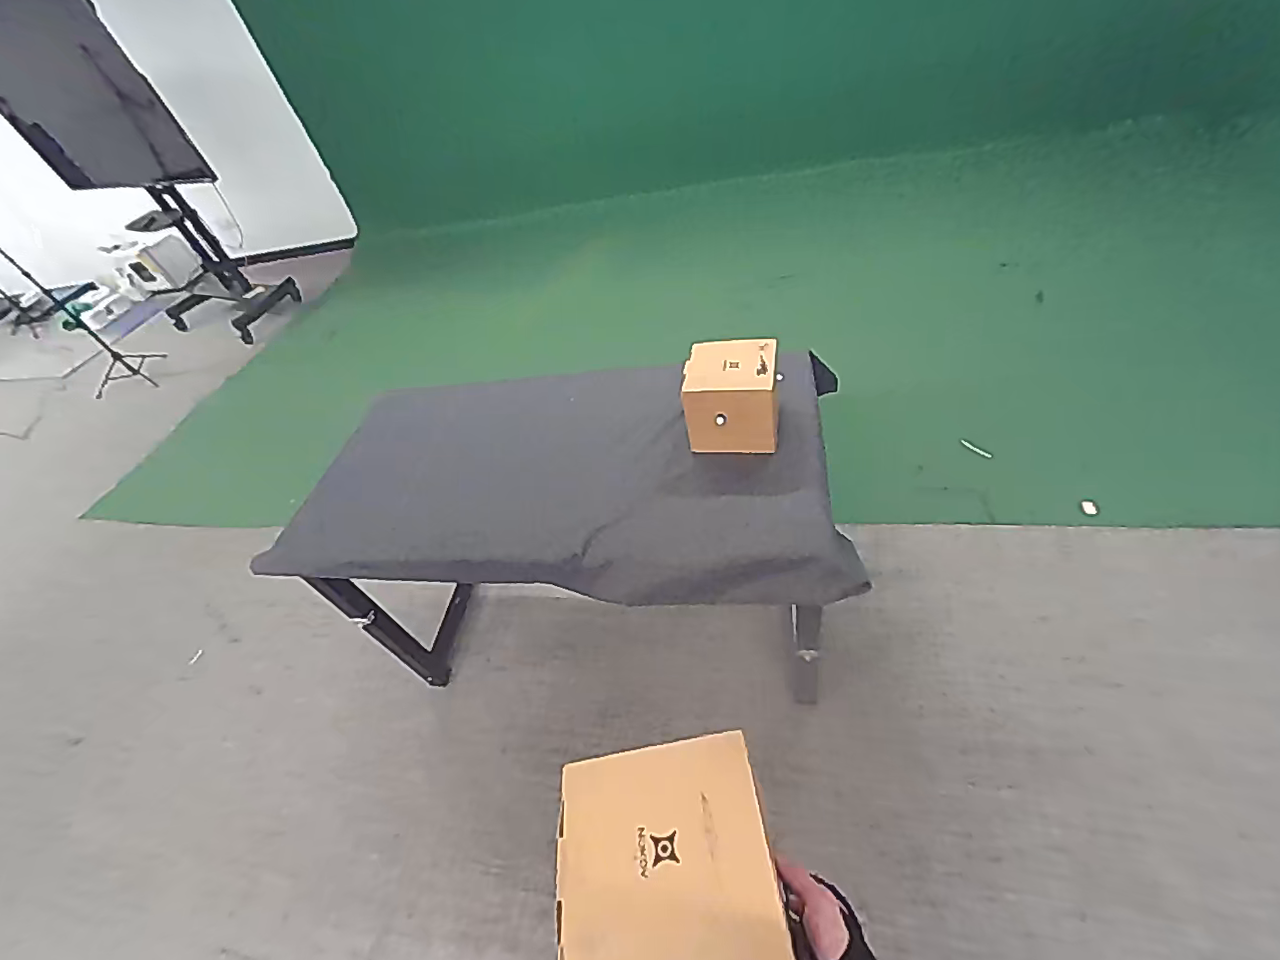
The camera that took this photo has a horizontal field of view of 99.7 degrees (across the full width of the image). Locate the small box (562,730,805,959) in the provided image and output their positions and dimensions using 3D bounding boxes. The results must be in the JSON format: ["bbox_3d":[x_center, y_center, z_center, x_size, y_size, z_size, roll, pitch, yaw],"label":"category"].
[{"bbox_3d":[0.040,0.360,0.493,0.179,0.176,0.168,-14,41,5],"label":"small box"}]

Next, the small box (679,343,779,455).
[{"bbox_3d":[0.193,-0.164,1.129,0.179,0.176,0.168,0,49,18],"label":"small box"}]
